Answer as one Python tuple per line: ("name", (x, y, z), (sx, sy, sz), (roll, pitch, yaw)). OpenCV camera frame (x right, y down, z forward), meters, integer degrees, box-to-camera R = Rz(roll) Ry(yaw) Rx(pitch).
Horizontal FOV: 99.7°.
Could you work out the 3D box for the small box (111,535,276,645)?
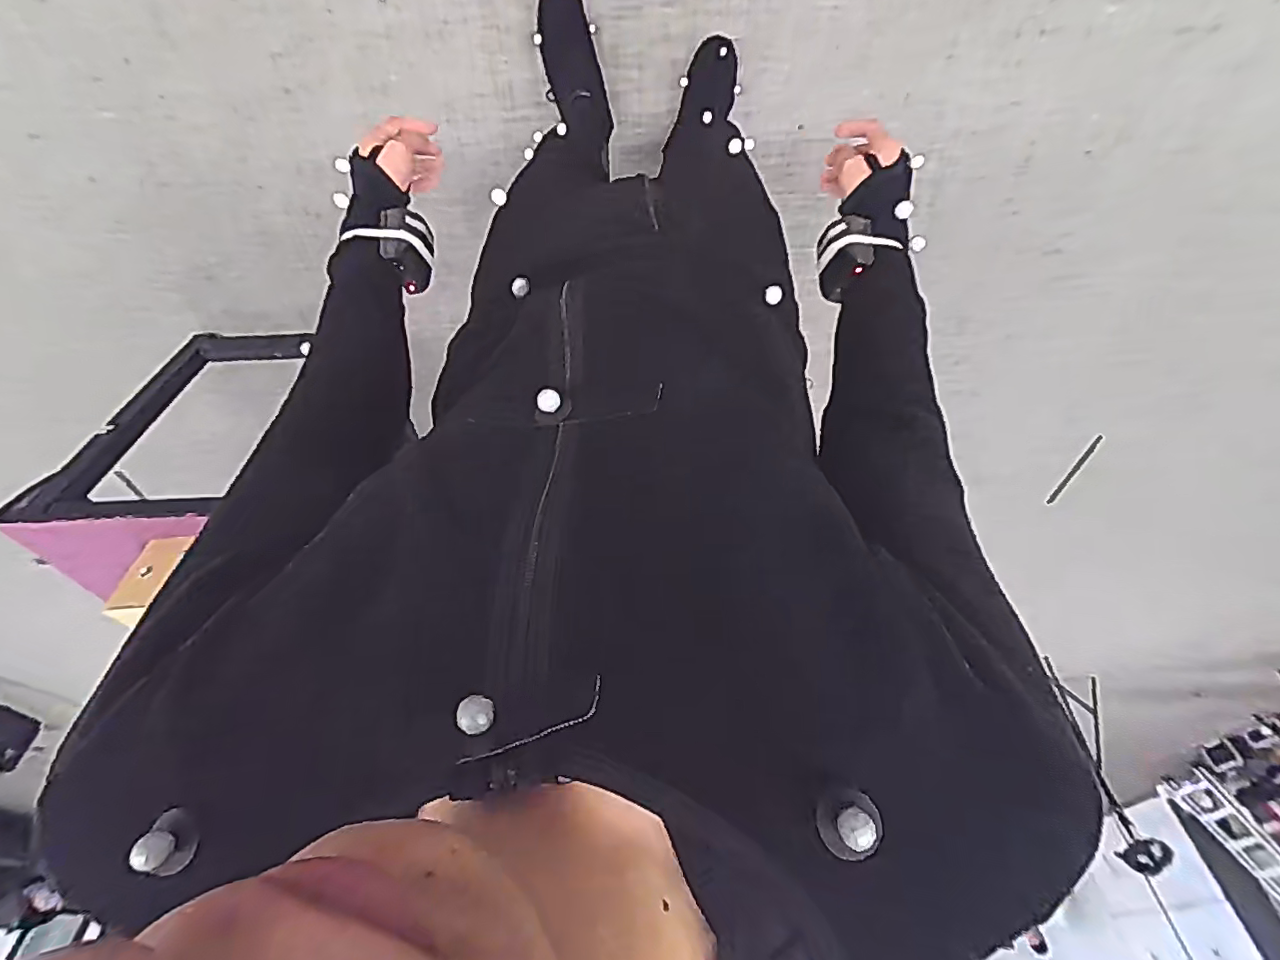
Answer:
("small box", (-0.930, 0.232, 1.147), (0.179, 0.176, 0.168), (-4, 138, 2))
